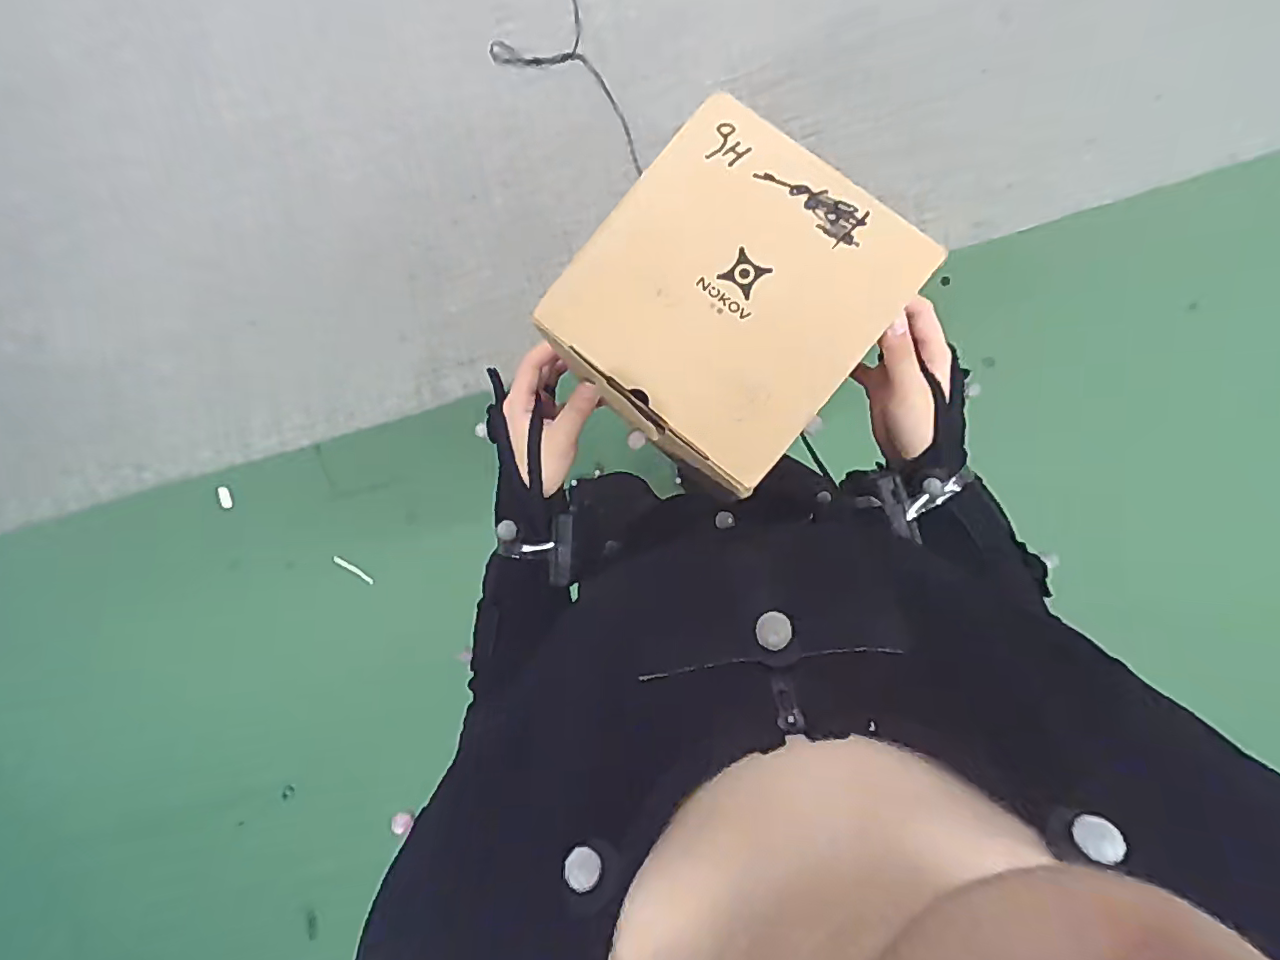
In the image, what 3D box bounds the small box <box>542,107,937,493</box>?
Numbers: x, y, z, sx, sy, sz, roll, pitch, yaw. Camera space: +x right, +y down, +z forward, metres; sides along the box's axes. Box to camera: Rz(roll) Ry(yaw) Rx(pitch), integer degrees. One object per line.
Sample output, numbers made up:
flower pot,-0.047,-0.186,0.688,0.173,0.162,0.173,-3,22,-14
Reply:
small box,0.063,-0.103,0.395,0.168,0.176,0.179,40,91,6
